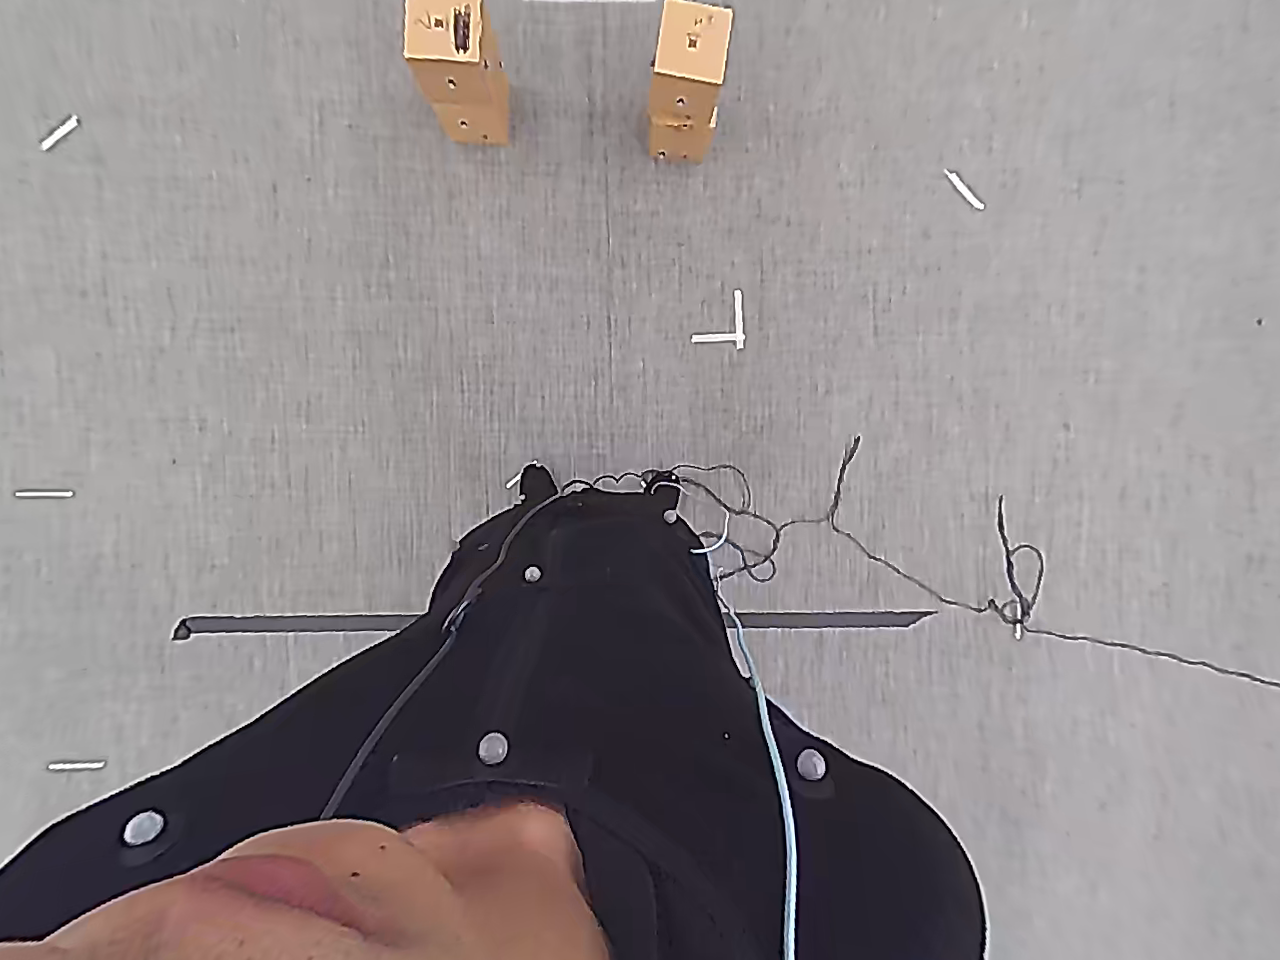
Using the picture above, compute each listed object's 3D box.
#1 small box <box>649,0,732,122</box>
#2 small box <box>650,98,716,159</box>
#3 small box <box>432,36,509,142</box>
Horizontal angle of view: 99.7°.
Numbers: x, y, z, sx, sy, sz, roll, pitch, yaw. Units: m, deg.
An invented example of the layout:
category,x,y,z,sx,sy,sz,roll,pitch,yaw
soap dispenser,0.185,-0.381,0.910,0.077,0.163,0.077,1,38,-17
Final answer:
category,x,y,z,sx,sy,sz,roll,pitch,yaw
small box,0.118,-1.028,1.333,0.168,0.176,0.179,9,92,-4
small box,0.116,-1.024,1.498,0.168,0.176,0.179,3,92,-3
small box,-0.456,-1.054,1.472,0.168,0.176,0.179,1,92,-2
